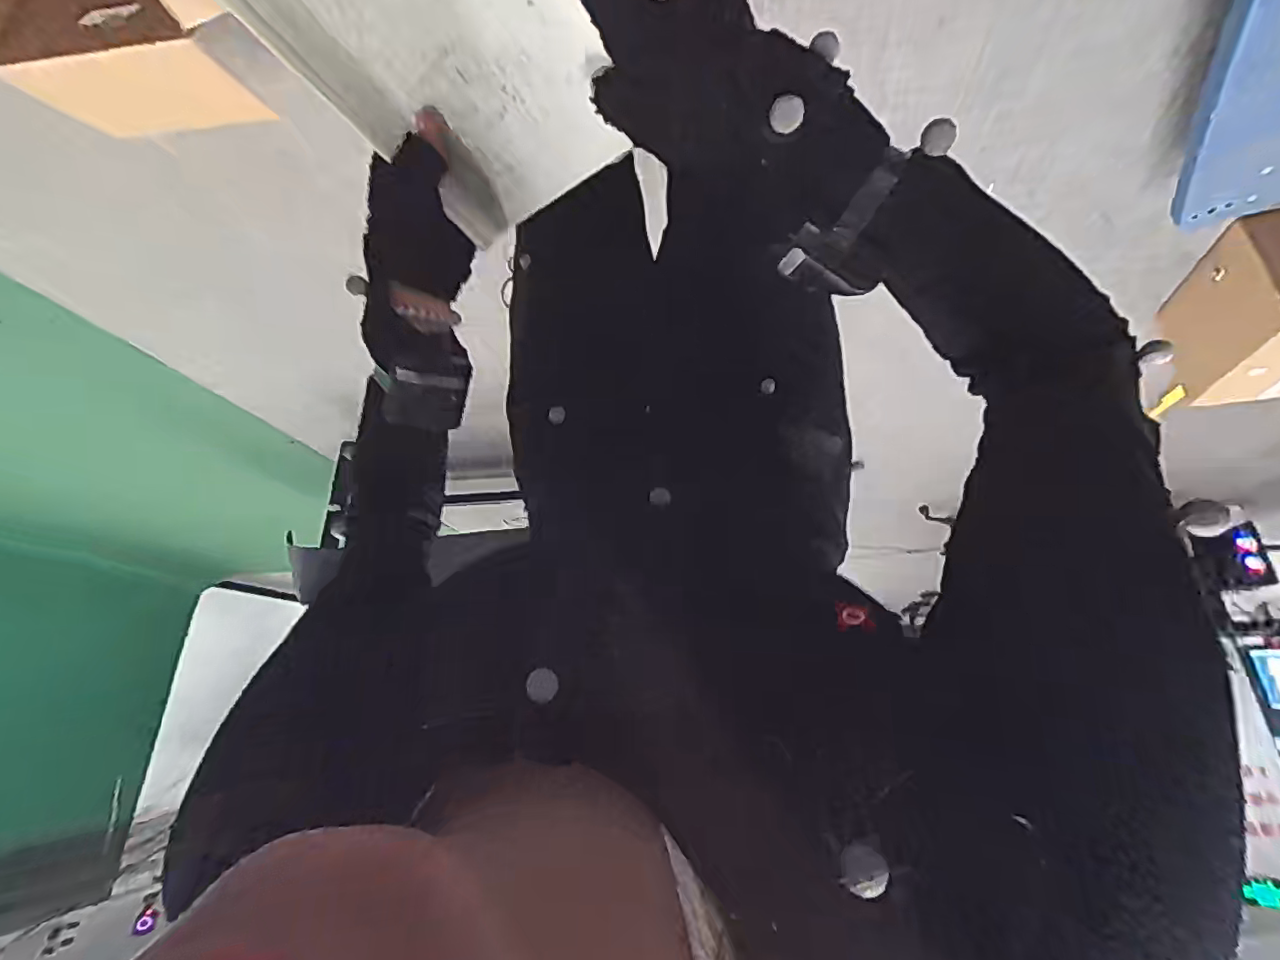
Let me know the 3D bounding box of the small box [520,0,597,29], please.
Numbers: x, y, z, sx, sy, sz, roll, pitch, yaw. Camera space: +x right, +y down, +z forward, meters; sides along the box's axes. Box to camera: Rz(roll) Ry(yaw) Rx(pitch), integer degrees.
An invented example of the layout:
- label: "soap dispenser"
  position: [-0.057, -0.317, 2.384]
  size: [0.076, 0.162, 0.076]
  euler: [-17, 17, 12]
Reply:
- label: "small box"
  position: [-0.121, -0.782, 0.733]
  size: [0.179, 0.176, 0.168]
  euler: [23, 164, -10]
